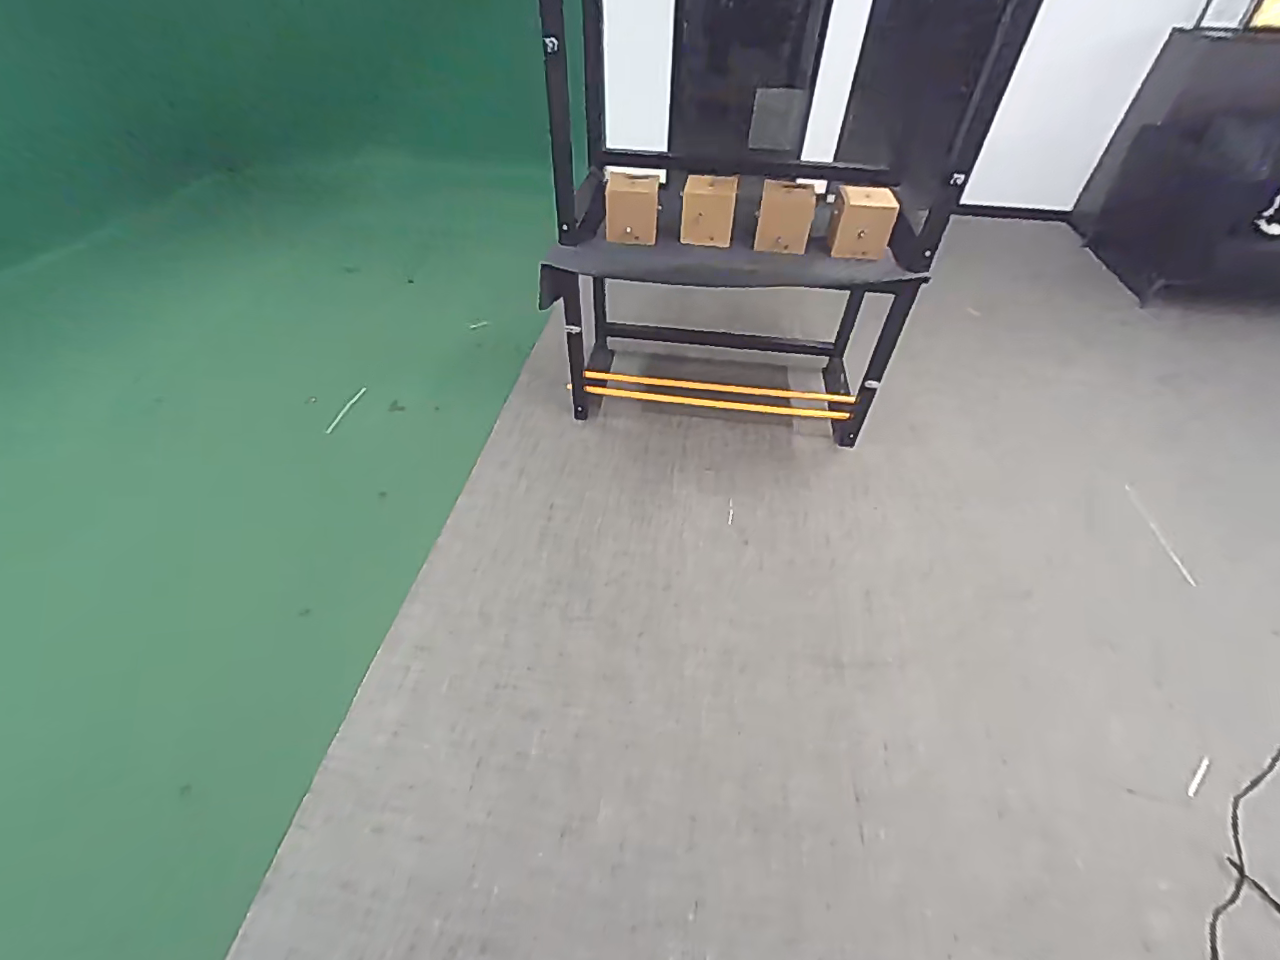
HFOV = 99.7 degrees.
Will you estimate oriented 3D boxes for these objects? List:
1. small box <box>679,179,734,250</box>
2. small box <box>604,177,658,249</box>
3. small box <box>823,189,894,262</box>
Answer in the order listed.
[{"bbox_3d":[0.224,-0.896,1.828,0.168,0.176,0.179,7,46,4],"label":"small box"},{"bbox_3d":[-0.030,-0.899,1.820,0.168,0.176,0.179,3,47,2],"label":"small box"},{"bbox_3d":[0.710,-0.834,1.776,0.168,0.176,0.179,6,45,4],"label":"small box"}]
